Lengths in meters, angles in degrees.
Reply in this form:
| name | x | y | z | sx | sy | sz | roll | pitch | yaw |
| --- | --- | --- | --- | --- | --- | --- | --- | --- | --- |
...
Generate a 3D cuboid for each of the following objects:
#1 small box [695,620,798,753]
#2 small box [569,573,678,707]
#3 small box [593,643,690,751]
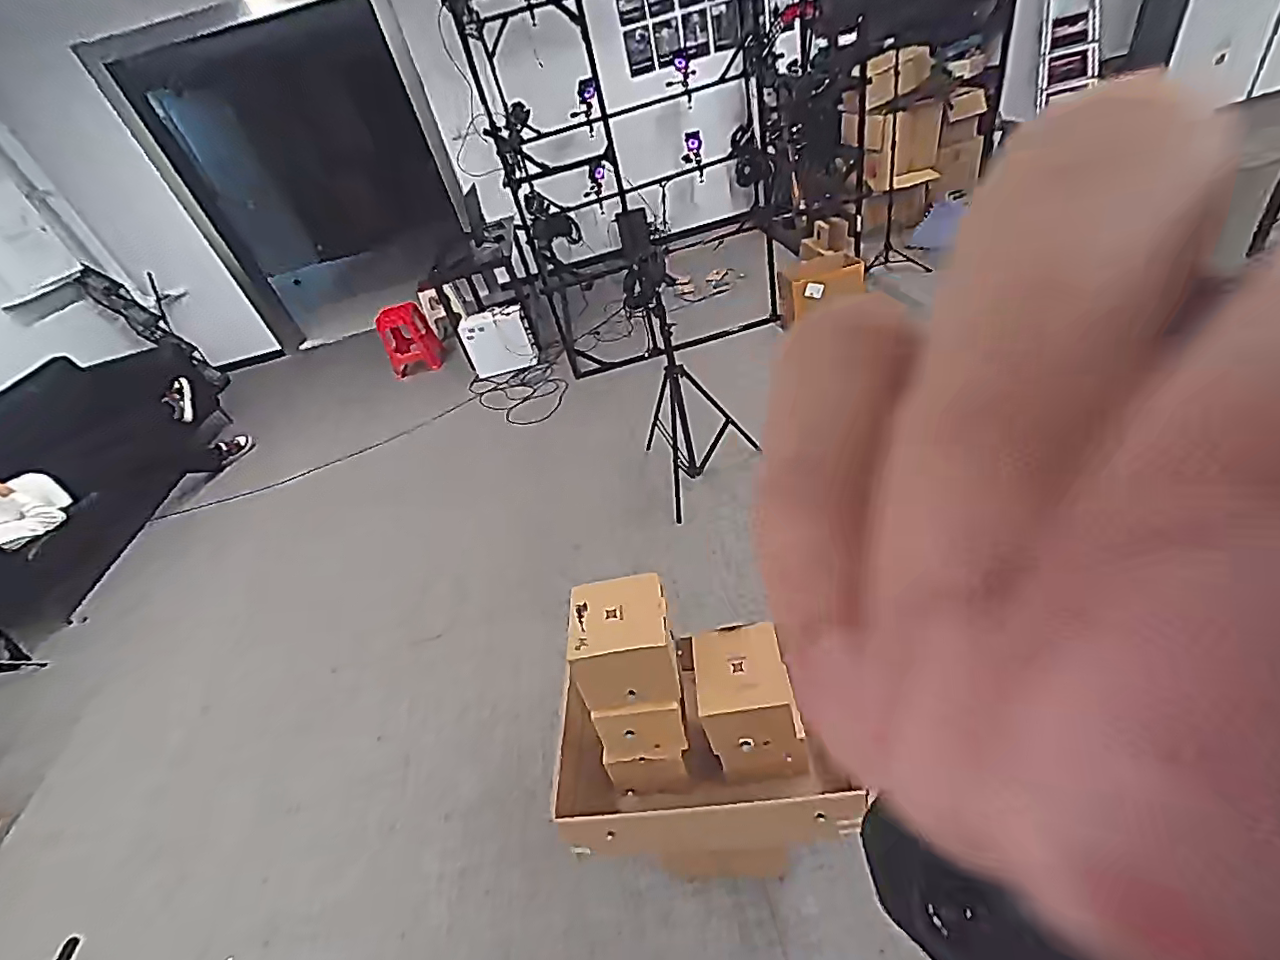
| name | x | y | z | sx | sy | sz | roll | pitch | yaw |
| --- | --- | --- | --- | --- | --- | --- | --- | --- | --- |
| small box | 0.207 | 0.406 | 1.063 | 0.168 | 0.176 | 0.179 | -12 | 37 | 10 |
| small box | -0.024 | 0.302 | 1.016 | 0.179 | 0.176 | 0.168 | -9 | 37 | 5 |
| small box | 0.006 | 0.434 | 1.108 | 0.168 | 0.176 | 0.179 | -9 | 37 | 6 |
